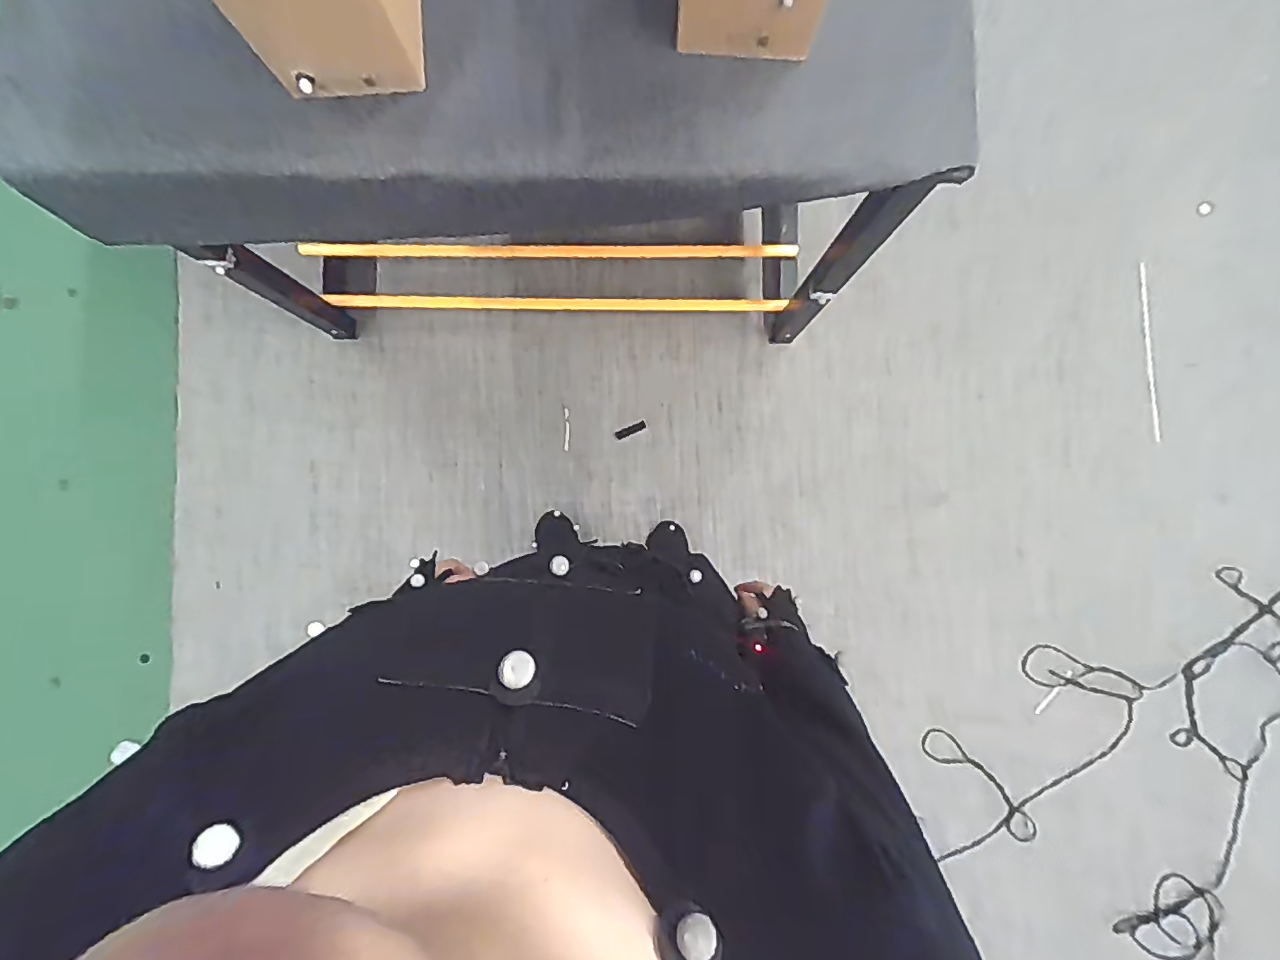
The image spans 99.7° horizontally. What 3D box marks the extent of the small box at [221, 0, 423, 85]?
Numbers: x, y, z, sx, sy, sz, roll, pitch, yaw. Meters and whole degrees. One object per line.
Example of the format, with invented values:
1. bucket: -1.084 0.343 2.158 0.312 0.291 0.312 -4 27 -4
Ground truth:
1. small box: -0.351 -0.571 0.593 0.168 0.176 0.179 -4 86 -1

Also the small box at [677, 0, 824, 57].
1. small box: 0.134 -0.621 0.603 0.168 0.176 0.179 4 86 -1
